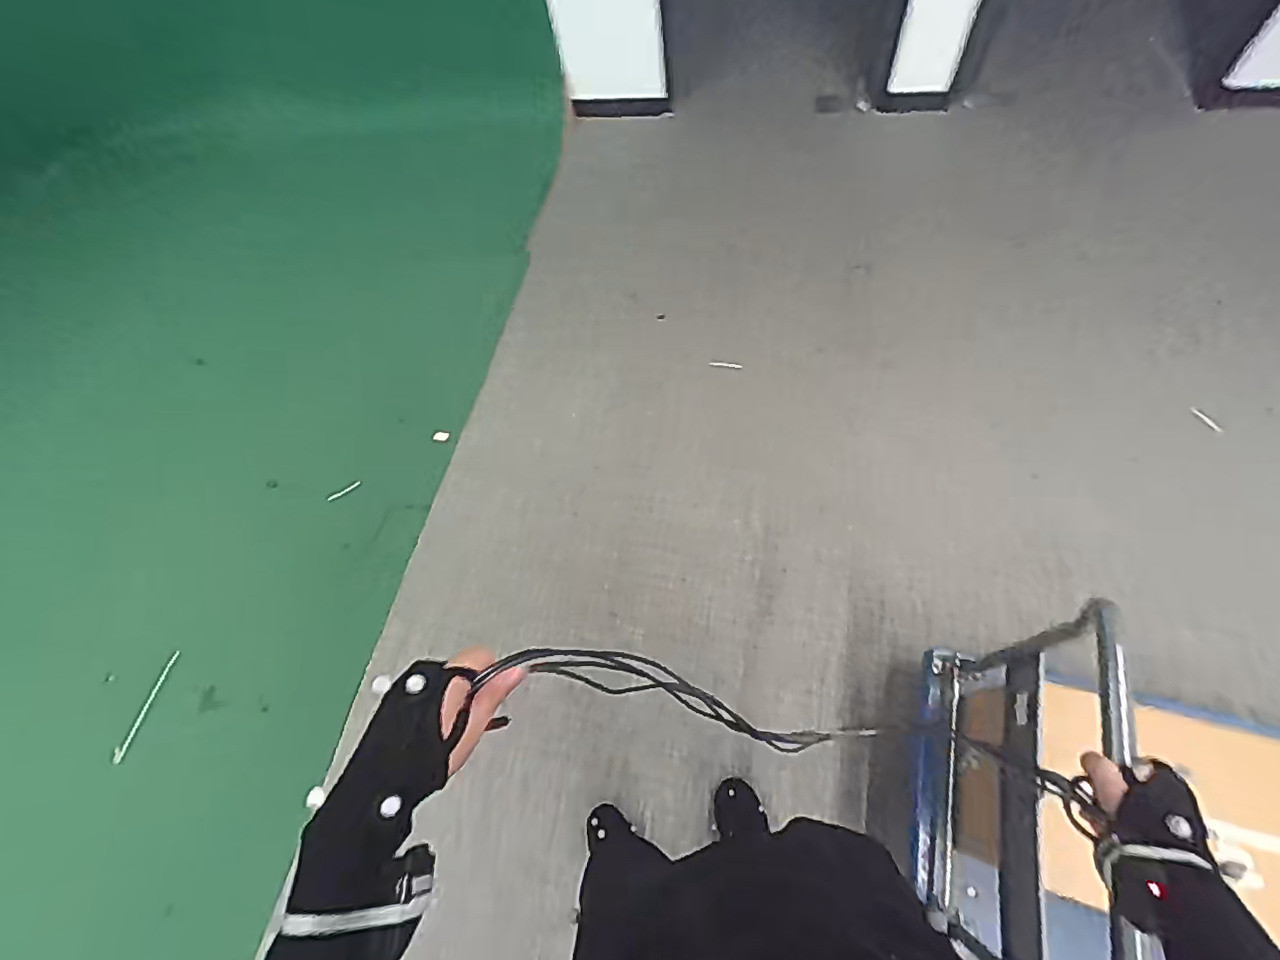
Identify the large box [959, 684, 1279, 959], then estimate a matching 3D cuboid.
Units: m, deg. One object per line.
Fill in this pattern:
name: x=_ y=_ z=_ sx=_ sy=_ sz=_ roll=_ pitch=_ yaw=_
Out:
large box: x=0.845 y=0.592 z=0.968 sx=0.408 sy=0.320 sz=0.320 roll=12 pitch=66 yaw=14
